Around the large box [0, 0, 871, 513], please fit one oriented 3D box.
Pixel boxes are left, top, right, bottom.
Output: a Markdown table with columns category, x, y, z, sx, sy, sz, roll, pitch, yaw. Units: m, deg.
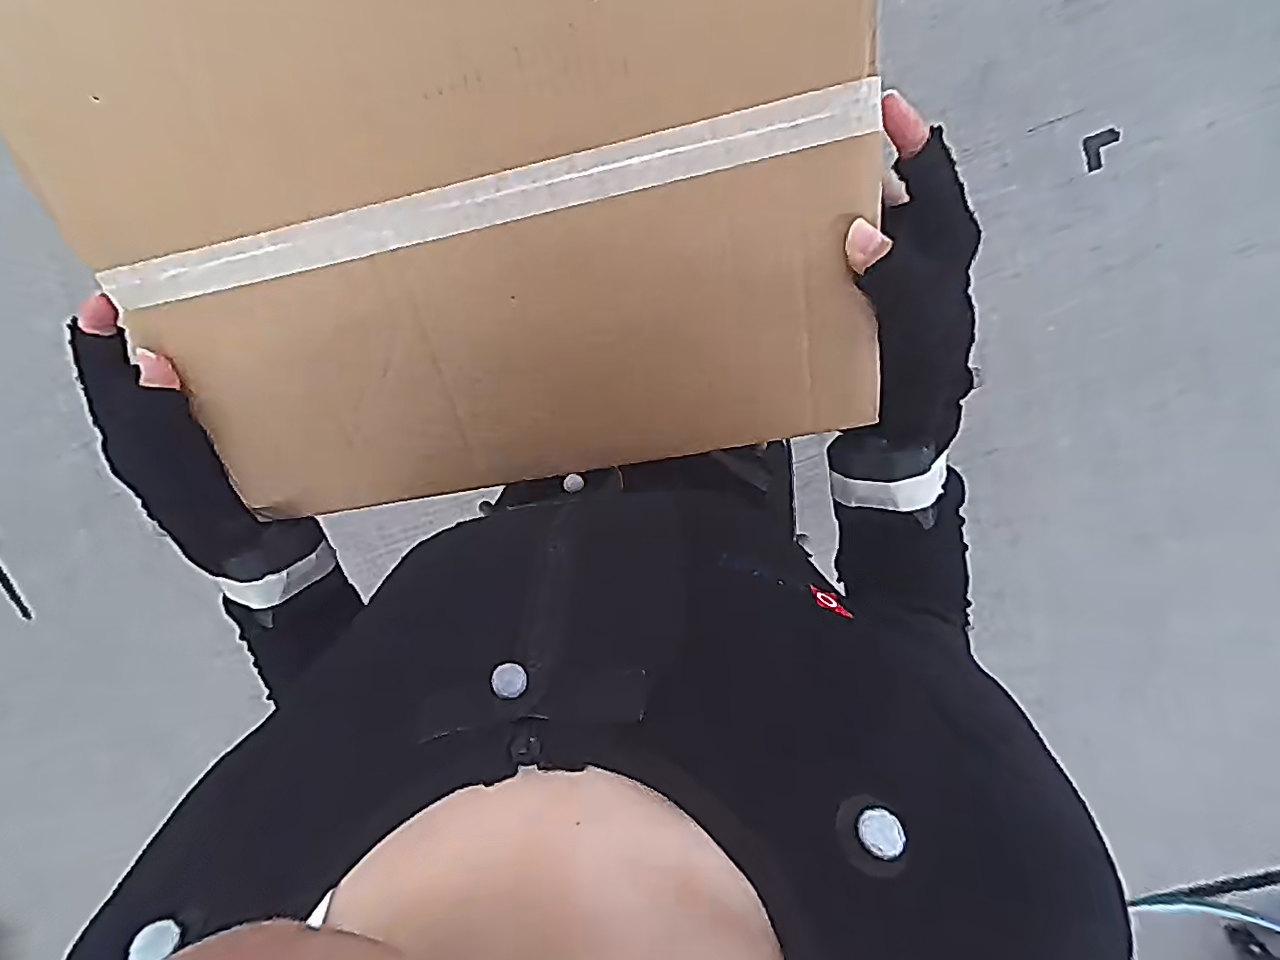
| category | x | y | z | sx | sy | sz | roll | pitch | yaw |
| --- | --- | --- | --- | --- | --- | --- | --- | --- | --- |
| large box | -0.081 | -0.214 | 0.405 | 0.408 | 0.320 | 0.320 | -9 | 118 | 8 |
